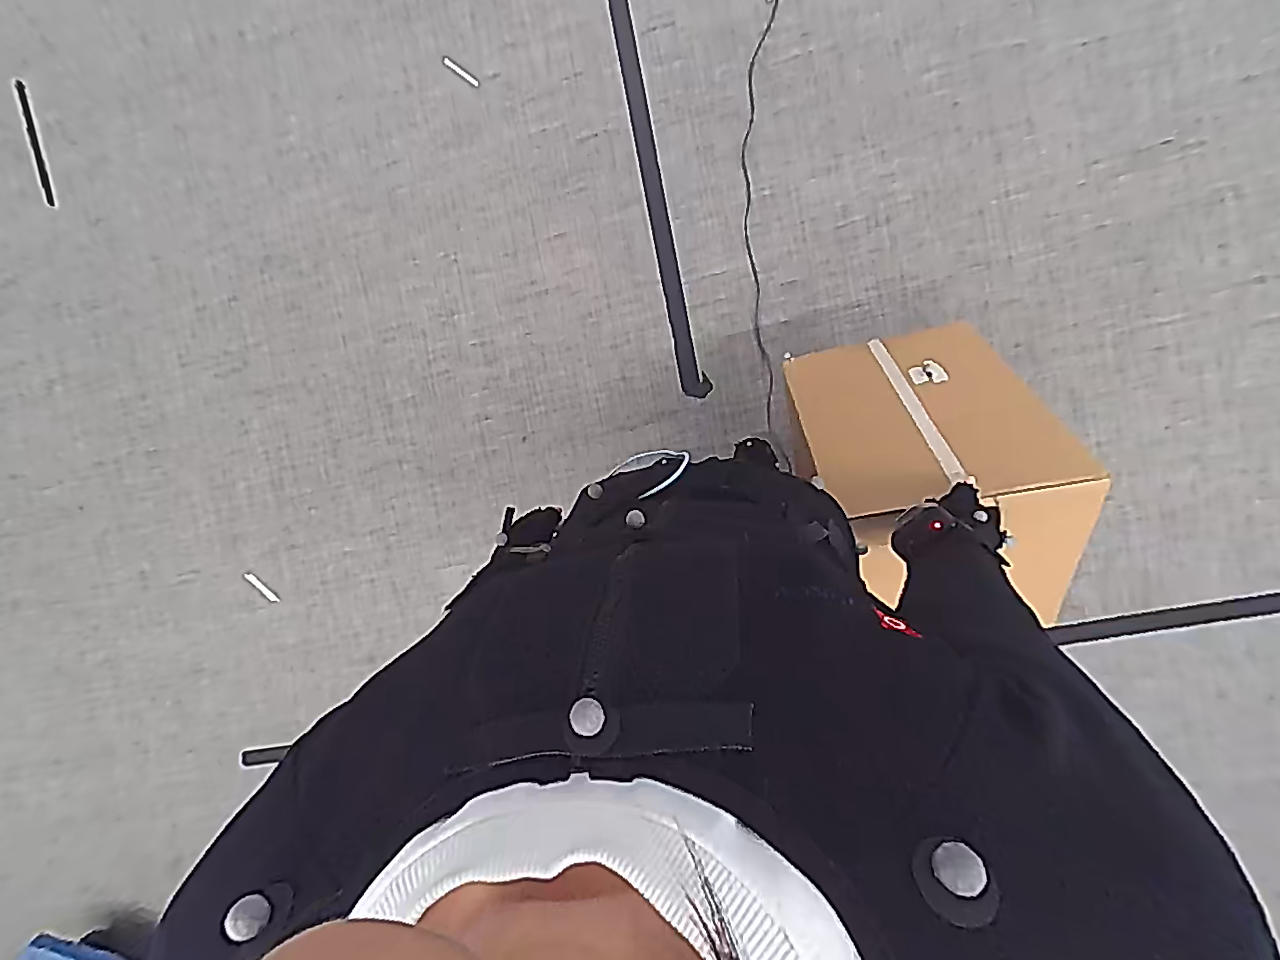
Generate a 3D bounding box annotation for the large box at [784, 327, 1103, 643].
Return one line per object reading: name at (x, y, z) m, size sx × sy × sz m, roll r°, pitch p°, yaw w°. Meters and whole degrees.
large box at (0.449, 0.003, 0.908) m, size 0.320 × 0.408 × 0.320 m, roll -10°, pitch 130°, yaw 11°
